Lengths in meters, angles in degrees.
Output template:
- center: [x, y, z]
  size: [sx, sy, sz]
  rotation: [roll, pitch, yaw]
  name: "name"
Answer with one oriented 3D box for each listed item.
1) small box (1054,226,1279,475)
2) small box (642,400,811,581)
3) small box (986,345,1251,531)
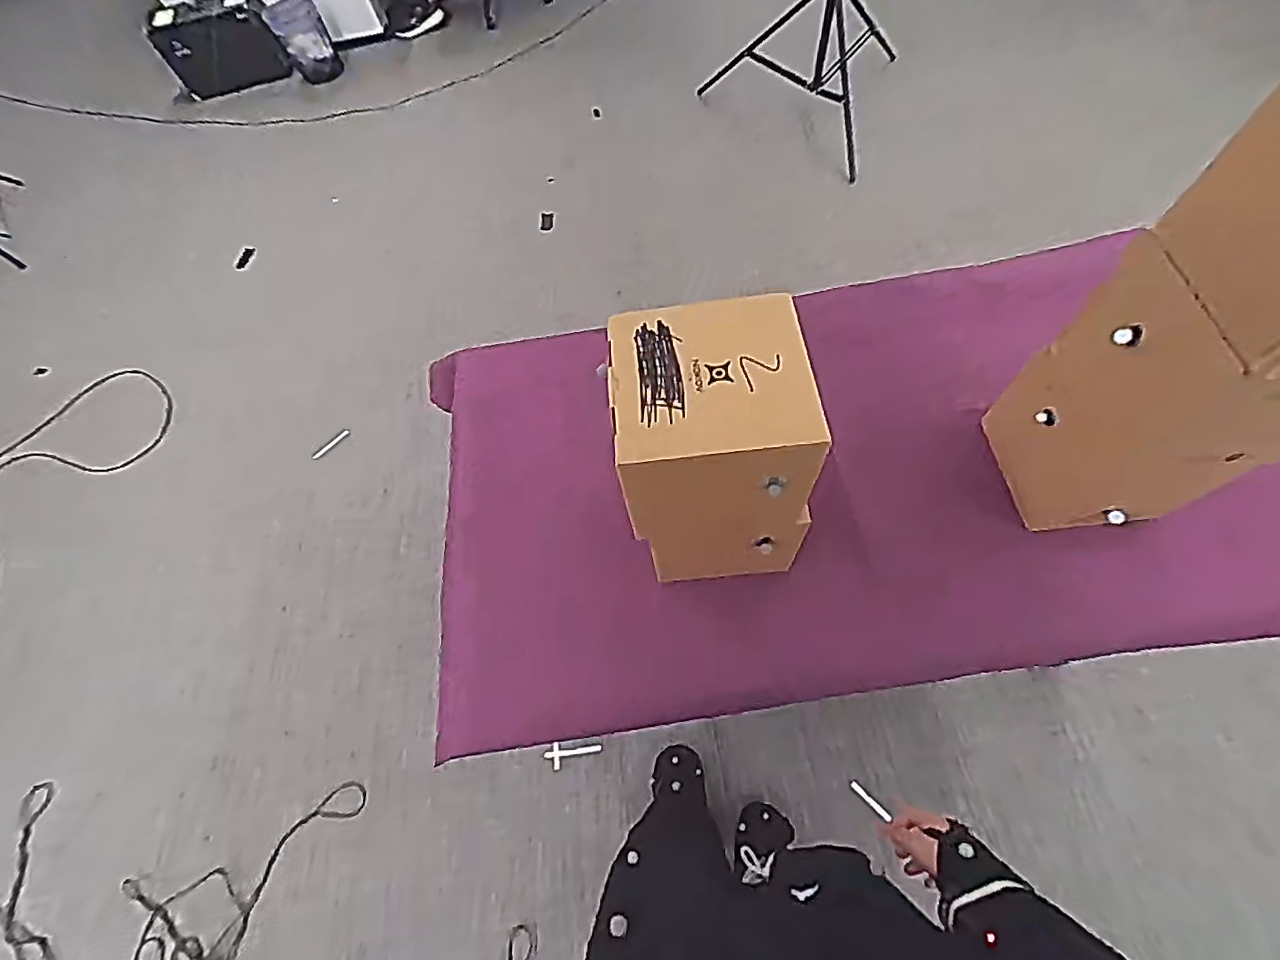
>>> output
- center: [0.554, -0.124, 0.522]
  size: [0.168, 0.176, 0.179]
  rotation: [-5, 62, 5]
  name: "small box"
- center: [0.099, 0.021, 0.684]
  size: [0.179, 0.176, 0.168]
  rotation: [-6, 62, 4]
  name: "small box"
- center: [0.571, -0.054, 0.670]
  size: [0.168, 0.176, 0.179]
  rotation: [-7, 63, 4]
  name: "small box"
